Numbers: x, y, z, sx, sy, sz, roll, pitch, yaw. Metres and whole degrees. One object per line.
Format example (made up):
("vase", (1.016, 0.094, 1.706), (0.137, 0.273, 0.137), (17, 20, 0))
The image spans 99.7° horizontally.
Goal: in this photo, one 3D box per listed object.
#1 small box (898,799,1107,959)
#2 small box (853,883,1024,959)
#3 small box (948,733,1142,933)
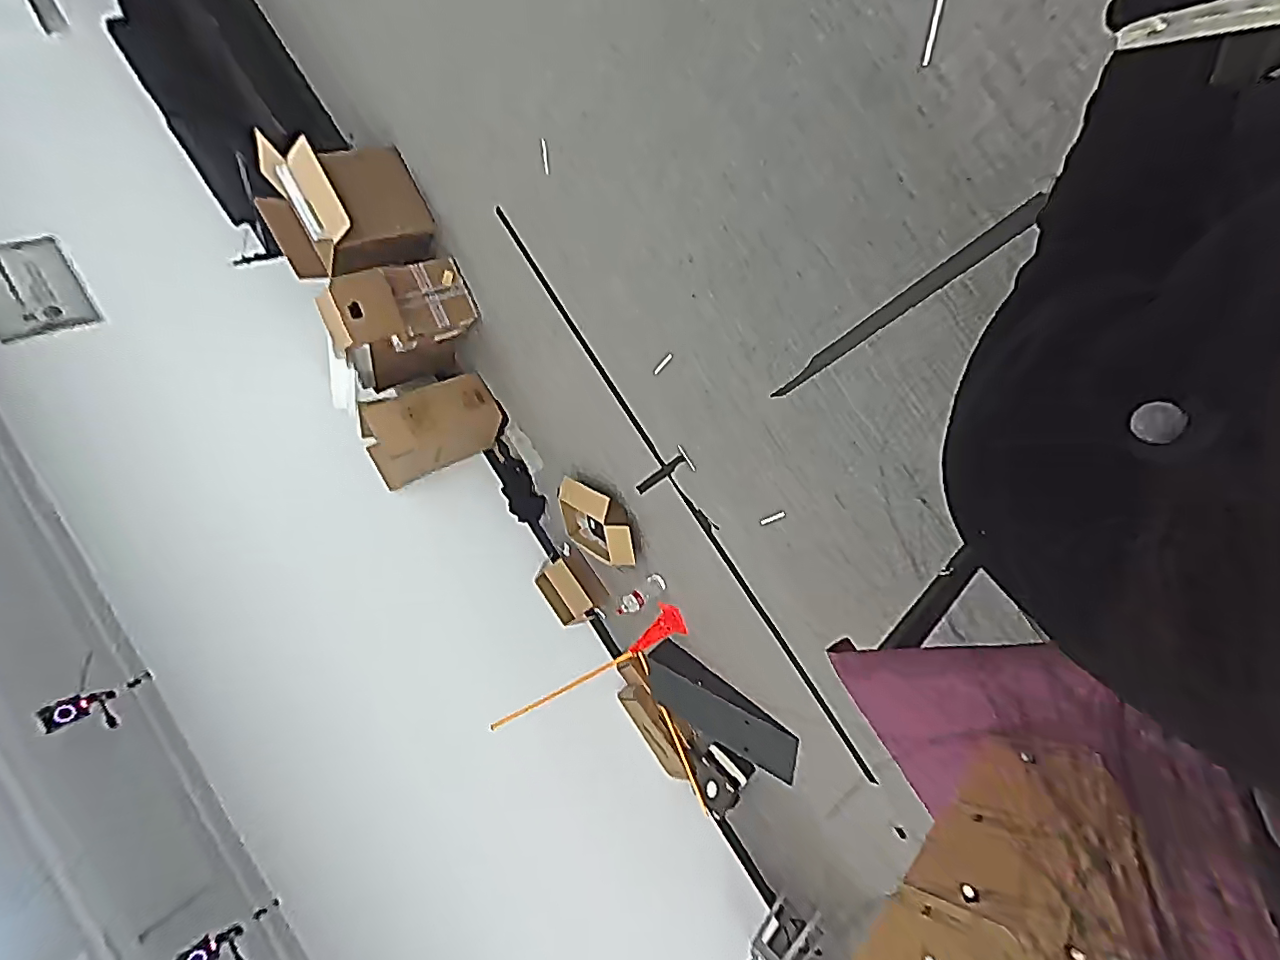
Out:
("small box", (0.519, 0.608, 0.774), (0.179, 0.176, 0.168), (59, 148, -2))
("small box", (0.395, 0.673, 0.690), (0.179, 0.176, 0.168), (60, 148, -1))
("small box", (0.643, 0.541, 0.858), (0.179, 0.176, 0.168), (59, 148, 1))
